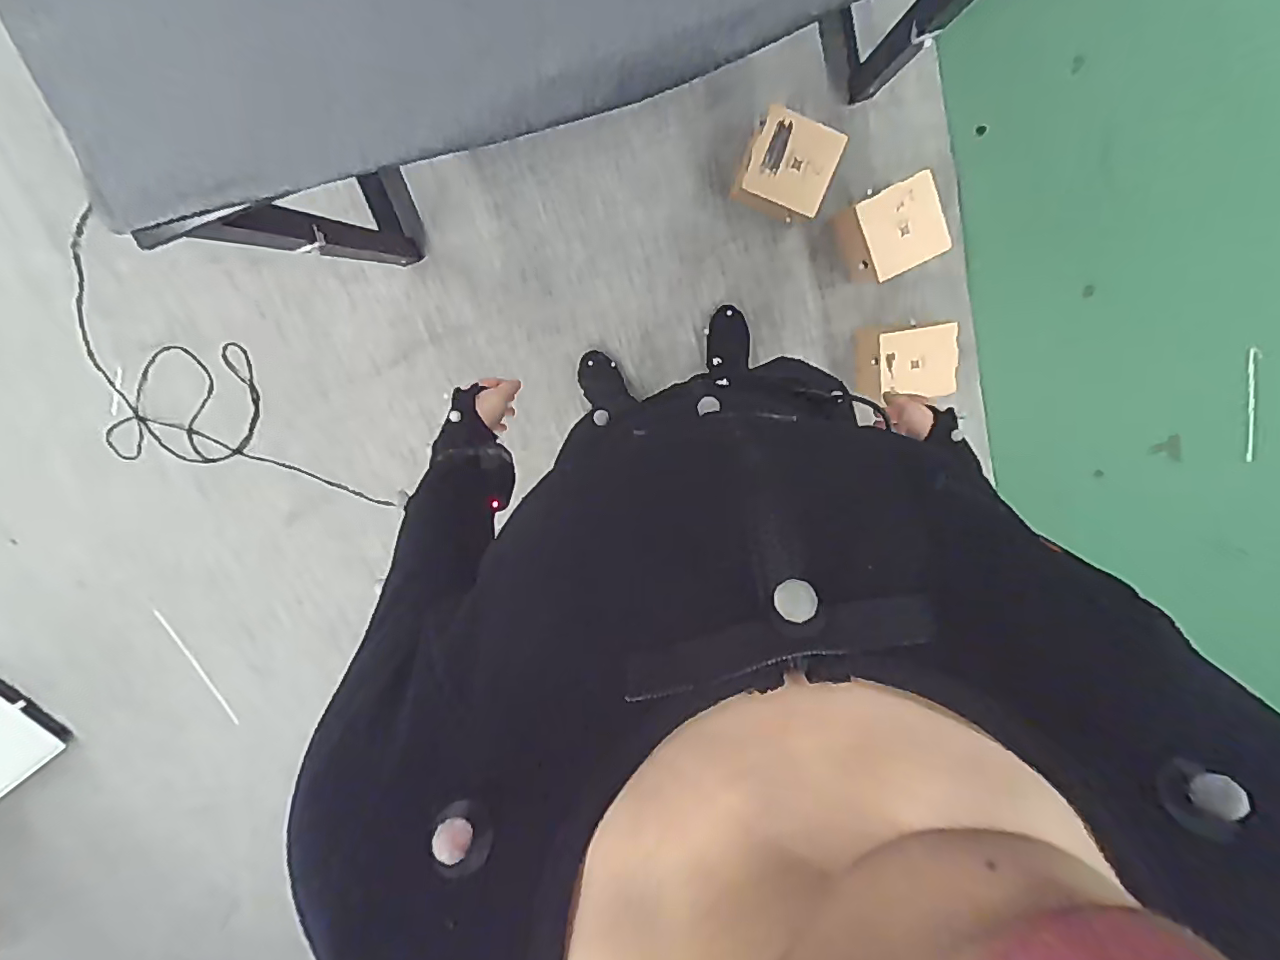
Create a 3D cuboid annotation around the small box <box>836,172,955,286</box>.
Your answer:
[{"bbox_3d":[0.572,-0.558,1.227,0.168,0.176,0.179,-24,106,9],"label":"small box"}]

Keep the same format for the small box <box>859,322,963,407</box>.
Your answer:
[{"bbox_3d":[0.650,-0.286,1.314,0.179,0.176,0.168,-8,109,5],"label":"small box"}]
